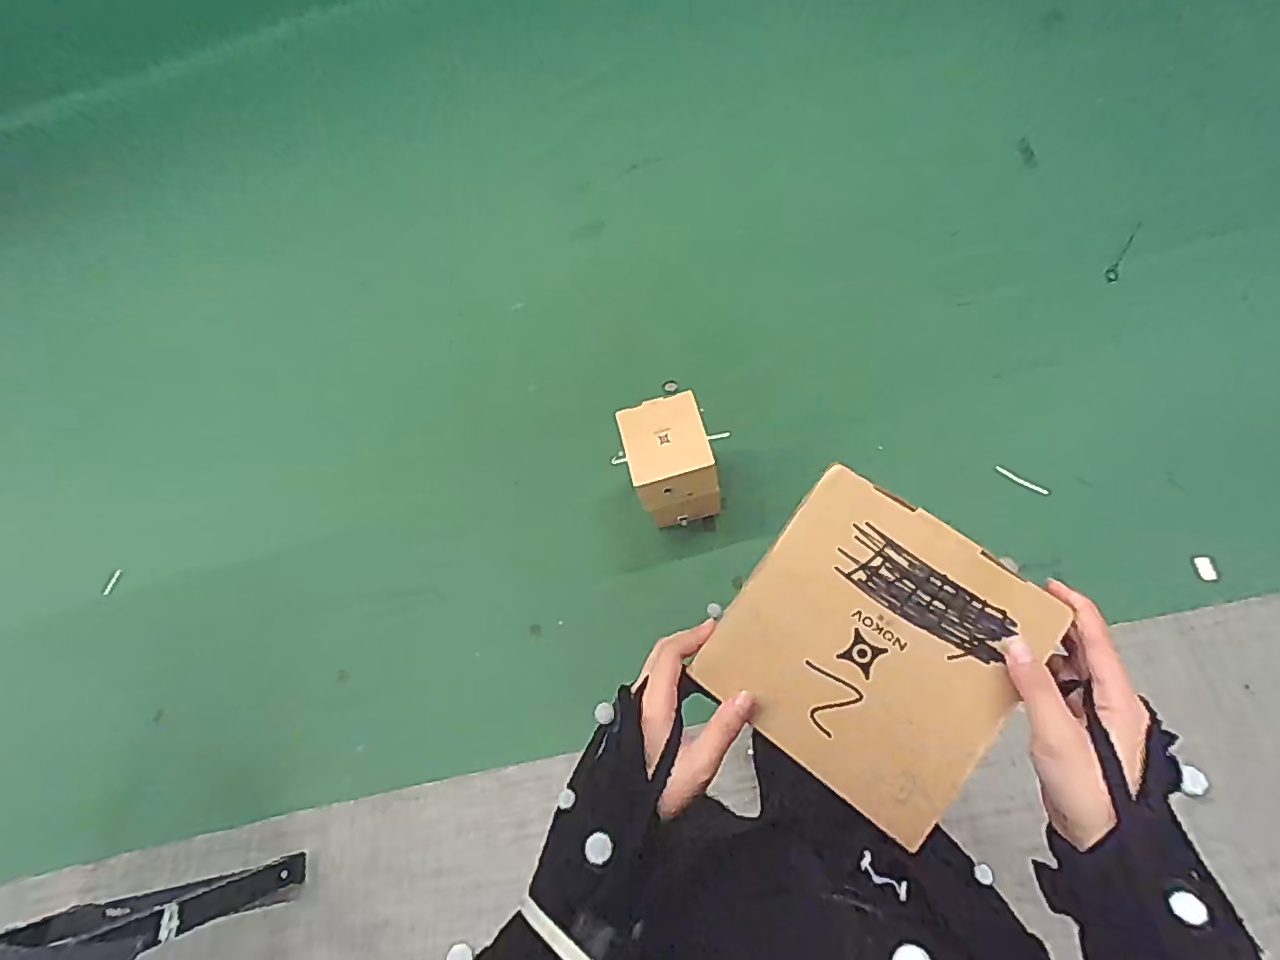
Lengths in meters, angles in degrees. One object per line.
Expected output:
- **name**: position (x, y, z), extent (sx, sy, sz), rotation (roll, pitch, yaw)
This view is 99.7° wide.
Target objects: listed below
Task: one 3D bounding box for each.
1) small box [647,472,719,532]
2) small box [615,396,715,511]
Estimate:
- **small box**: position (0.090, 0.006, 1.298), extent (0.168, 0.176, 0.179), rotation (-15, 68, 4)
- **small box**: position (0.057, -0.046, 1.146), extent (0.168, 0.176, 0.179), rotation (-16, 67, 3)
